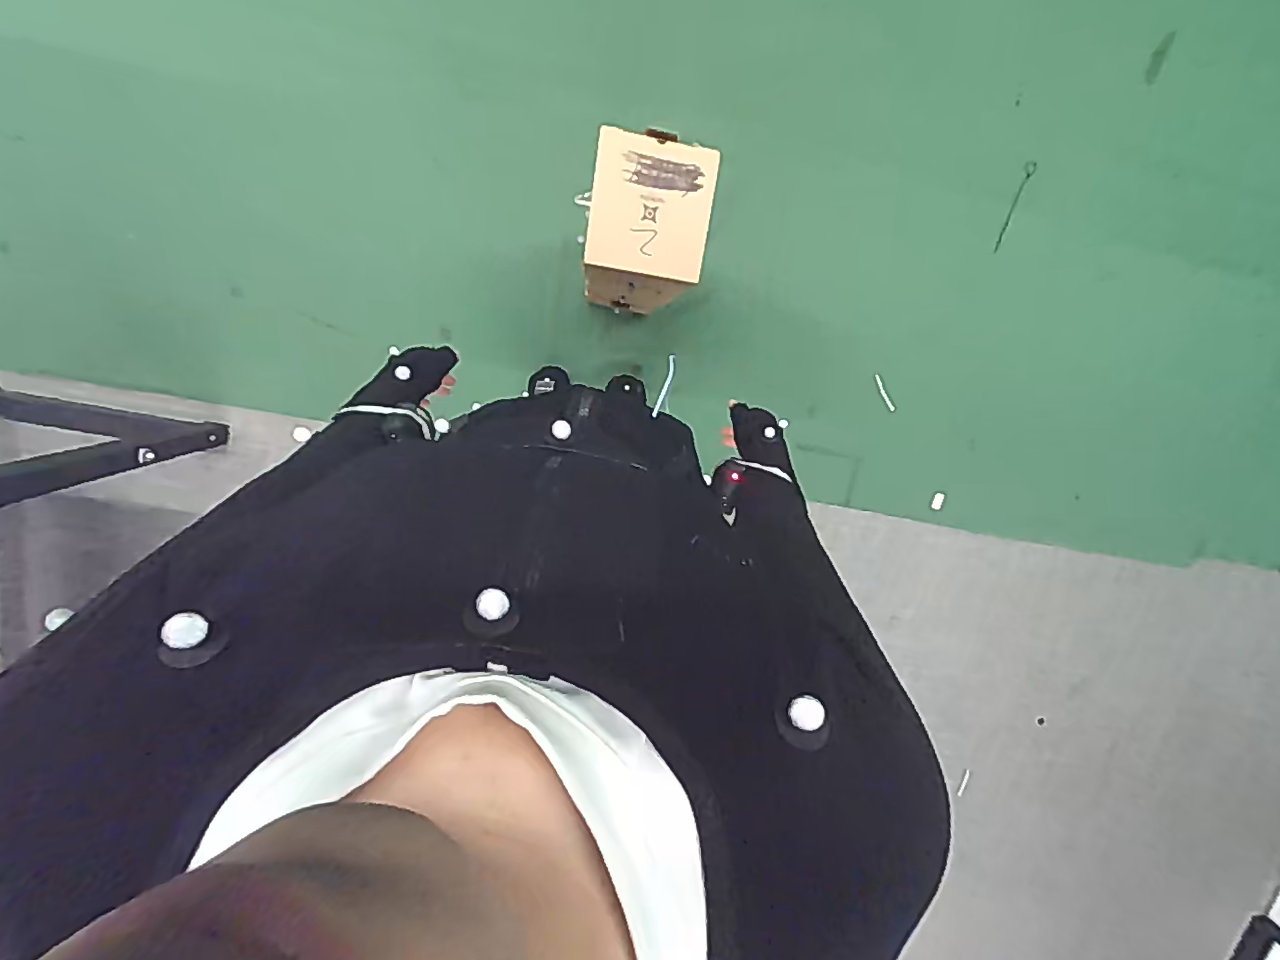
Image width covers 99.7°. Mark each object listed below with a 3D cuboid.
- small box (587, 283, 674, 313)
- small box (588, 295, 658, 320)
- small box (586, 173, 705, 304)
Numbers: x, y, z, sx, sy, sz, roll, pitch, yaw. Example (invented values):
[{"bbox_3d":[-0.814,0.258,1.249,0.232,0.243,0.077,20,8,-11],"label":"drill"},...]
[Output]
[{"bbox_3d":[-0.009,-0.455,1.131,0.179,0.176,0.168,12,100,-8],"label":"small box"},{"bbox_3d":[-0.029,-0.491,1.292,0.168,0.176,0.179,10,102,-7],"label":"small box"},{"bbox_3d":[0.001,-0.421,0.975,0.179,0.176,0.168,9,102,-8],"label":"small box"}]
